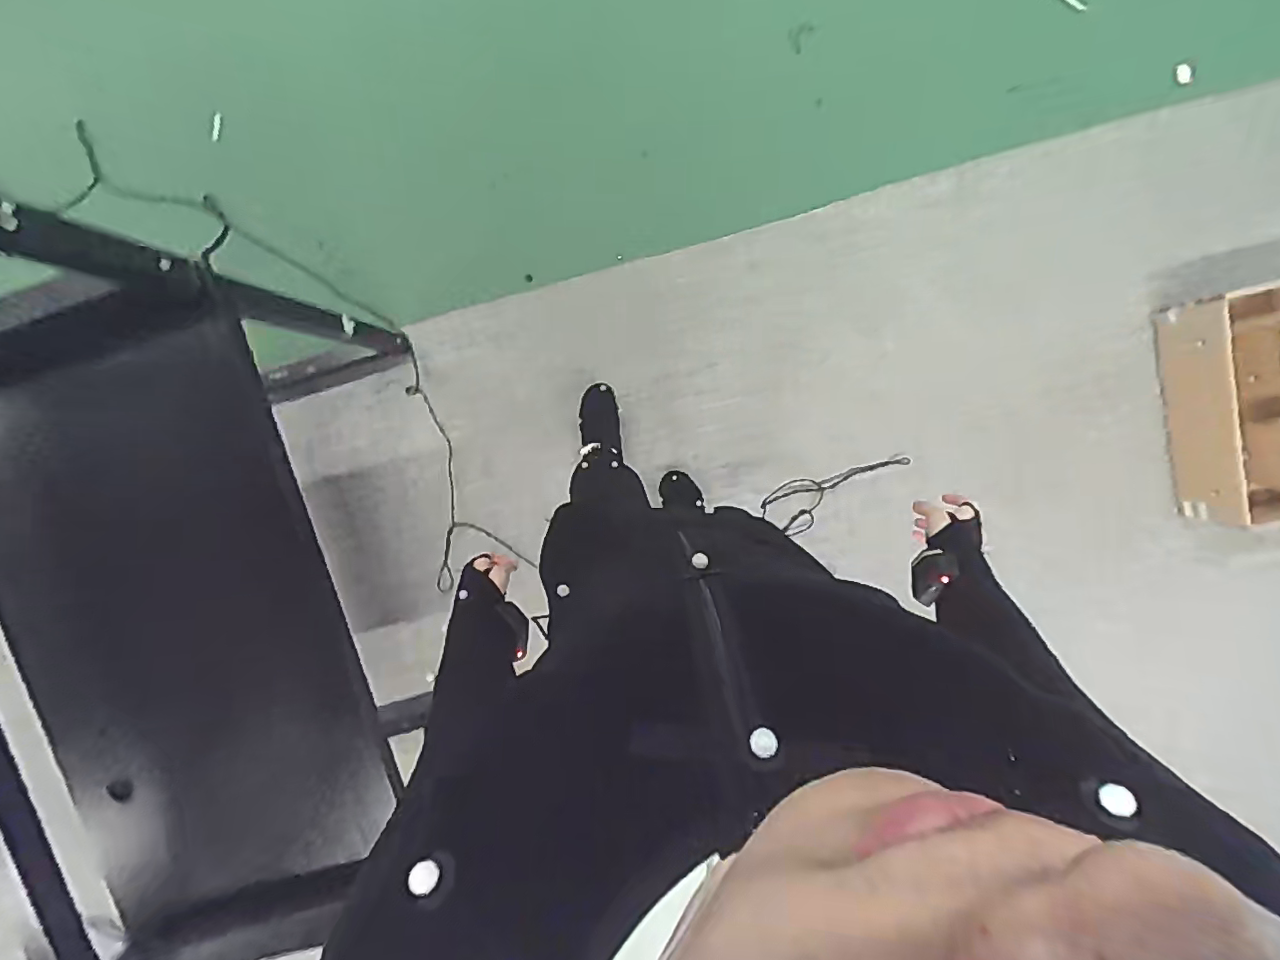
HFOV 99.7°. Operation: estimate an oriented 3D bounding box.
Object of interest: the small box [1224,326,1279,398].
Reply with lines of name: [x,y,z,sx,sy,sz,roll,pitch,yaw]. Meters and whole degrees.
small box: [1.670,-0.310,1.390,0.179,0.176,0.168,-15,97,4]
